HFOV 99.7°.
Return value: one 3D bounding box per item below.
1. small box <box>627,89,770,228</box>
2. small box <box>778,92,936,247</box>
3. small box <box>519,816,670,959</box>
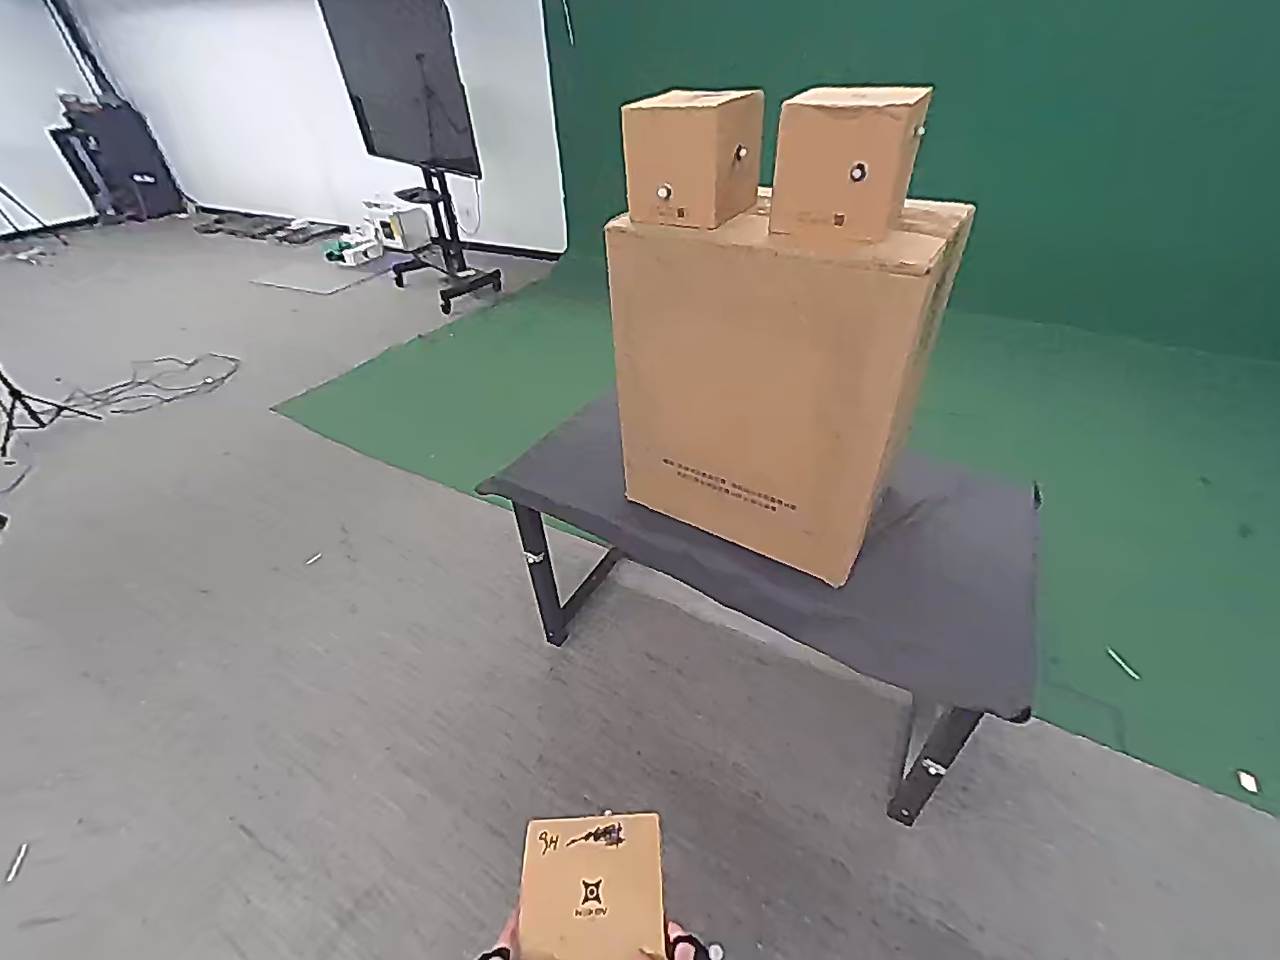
[{"bbox_3d":[0.096,-0.534,0.893,0.168,0.176,0.179,22,47,28],"label":"small box"},{"bbox_3d":[0.313,-0.461,0.800,0.168,0.176,0.179,20,45,21],"label":"small box"},{"bbox_3d":[-0.050,0.553,0.675,0.168,0.176,0.179,-5,40,-2],"label":"small box"}]
